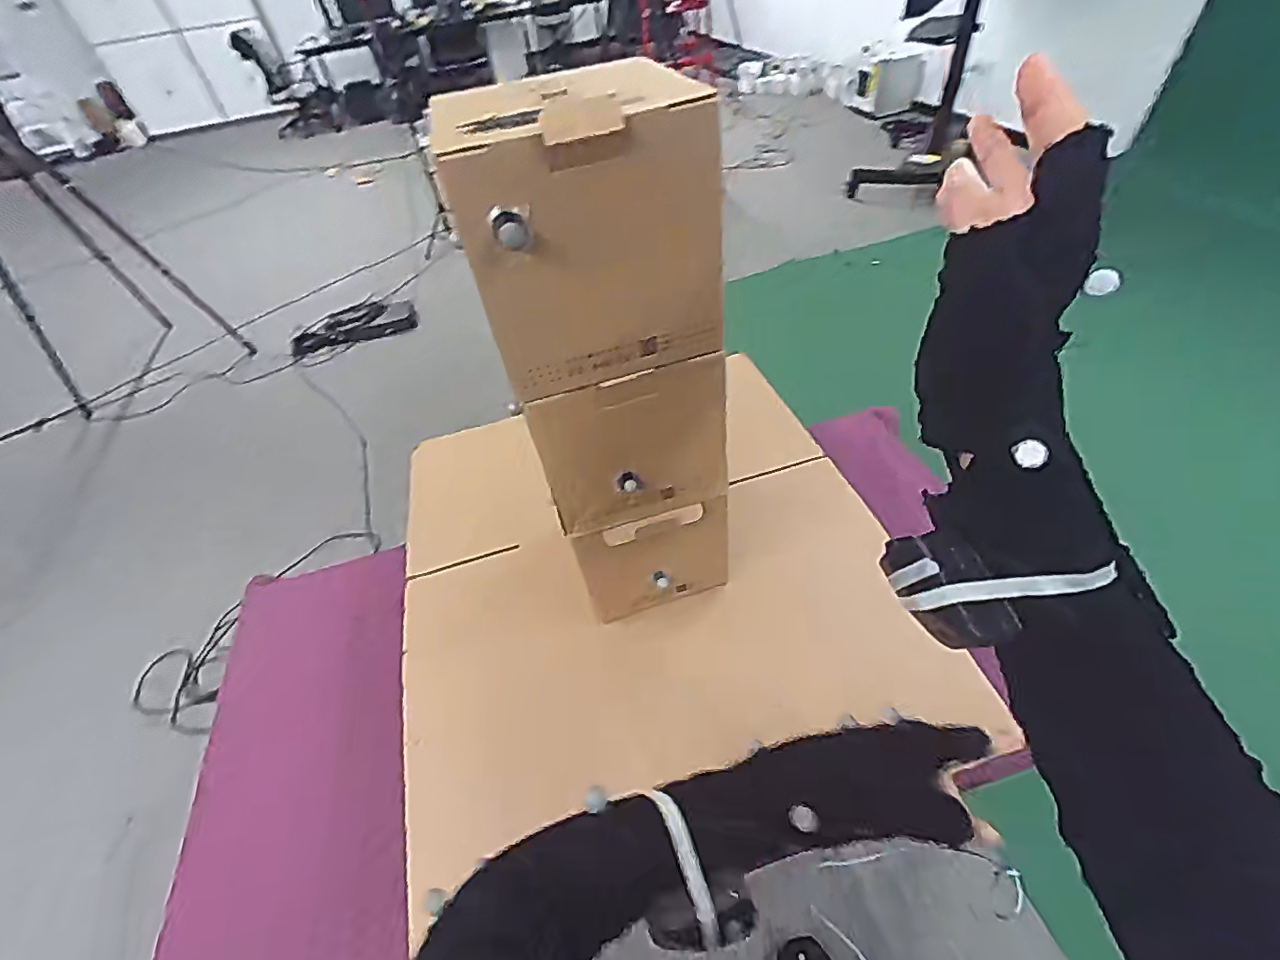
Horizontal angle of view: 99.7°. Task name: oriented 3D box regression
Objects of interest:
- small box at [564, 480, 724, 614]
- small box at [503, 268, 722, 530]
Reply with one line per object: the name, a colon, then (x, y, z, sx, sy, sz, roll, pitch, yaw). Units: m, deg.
small box: (-0.006, 0.030, 0.654, 0.168, 0.176, 0.179, -17, 46, -6)
small box: (-0.027, -0.081, 0.537, 0.168, 0.176, 0.179, -16, 47, -6)
